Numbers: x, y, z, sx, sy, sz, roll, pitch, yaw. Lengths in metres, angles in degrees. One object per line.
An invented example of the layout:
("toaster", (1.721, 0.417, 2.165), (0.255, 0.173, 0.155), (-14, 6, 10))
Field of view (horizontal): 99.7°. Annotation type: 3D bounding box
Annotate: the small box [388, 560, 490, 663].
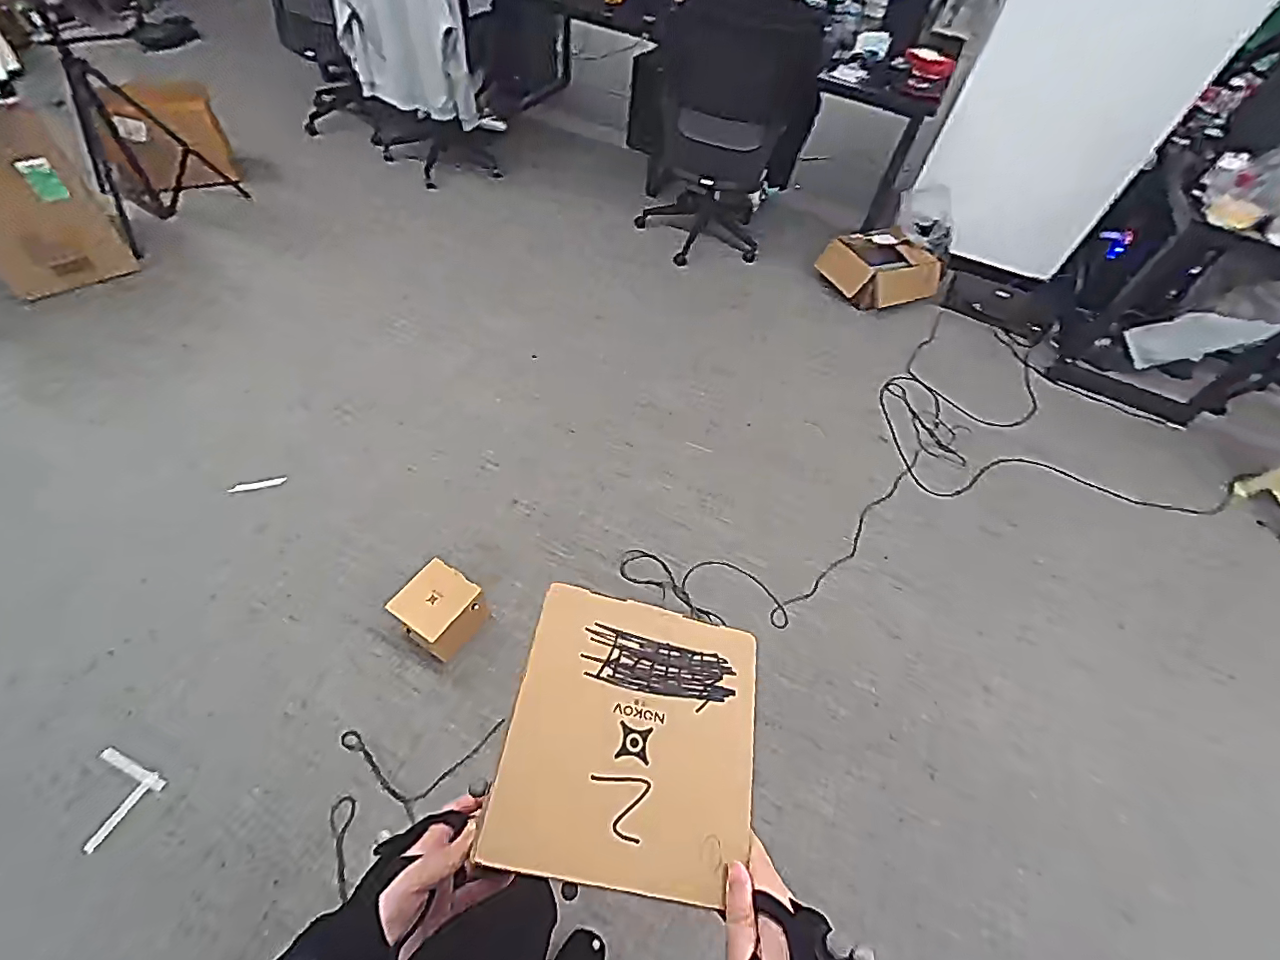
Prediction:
("small box", (-0.519, 0.351, 1.427), (0.168, 0.176, 0.179), (30, 56, 15))
